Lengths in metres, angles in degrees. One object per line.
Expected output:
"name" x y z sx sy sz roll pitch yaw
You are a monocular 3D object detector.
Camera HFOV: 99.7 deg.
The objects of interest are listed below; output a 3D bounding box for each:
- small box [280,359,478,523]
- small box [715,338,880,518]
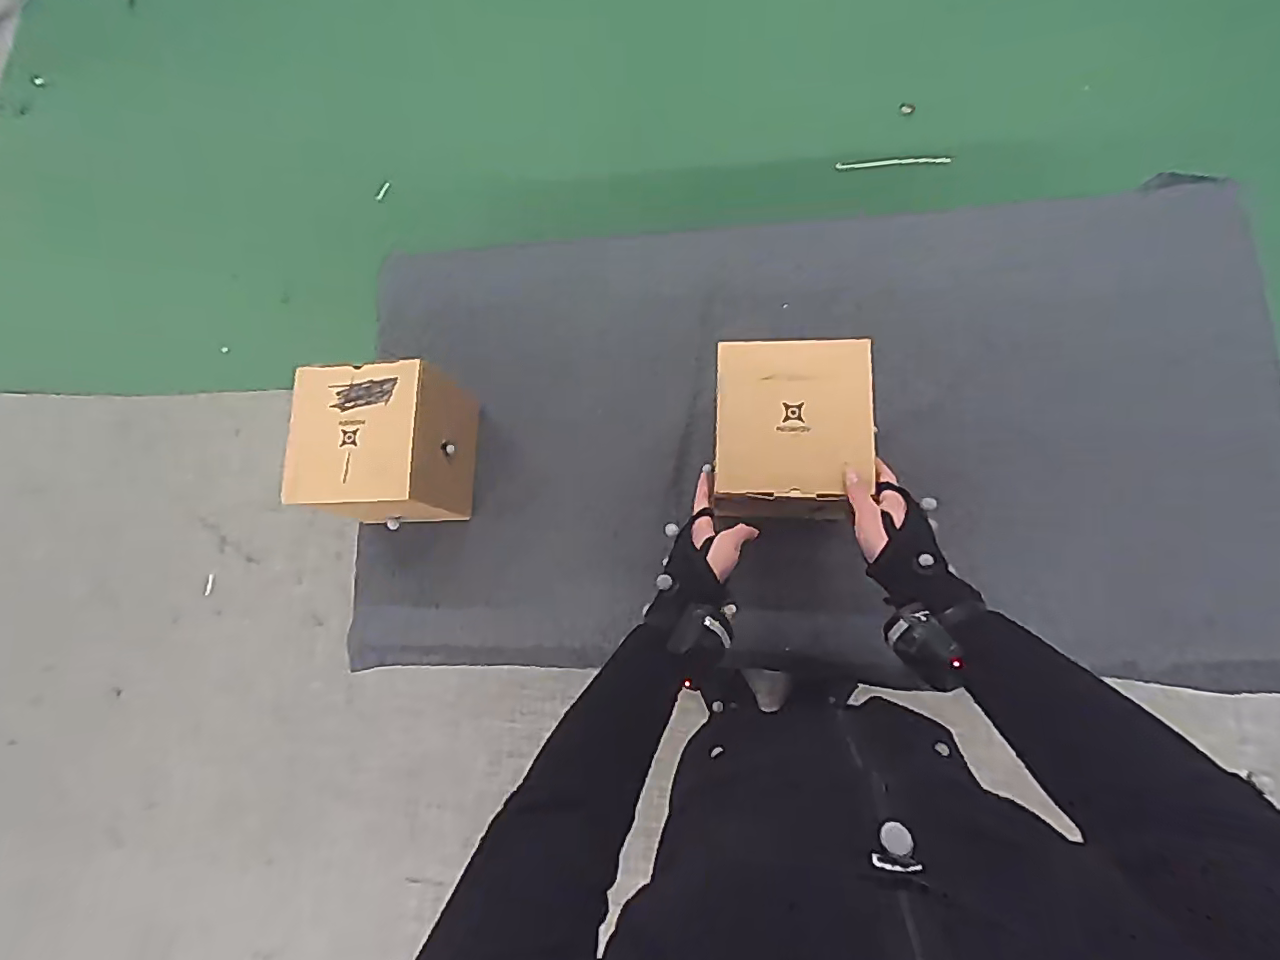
"small box" -0.327 -0.042 0.714 0.168 0.176 0.179 -2 77 8
"small box" 0.175 -0.051 0.647 0.168 0.176 0.179 1 77 7
